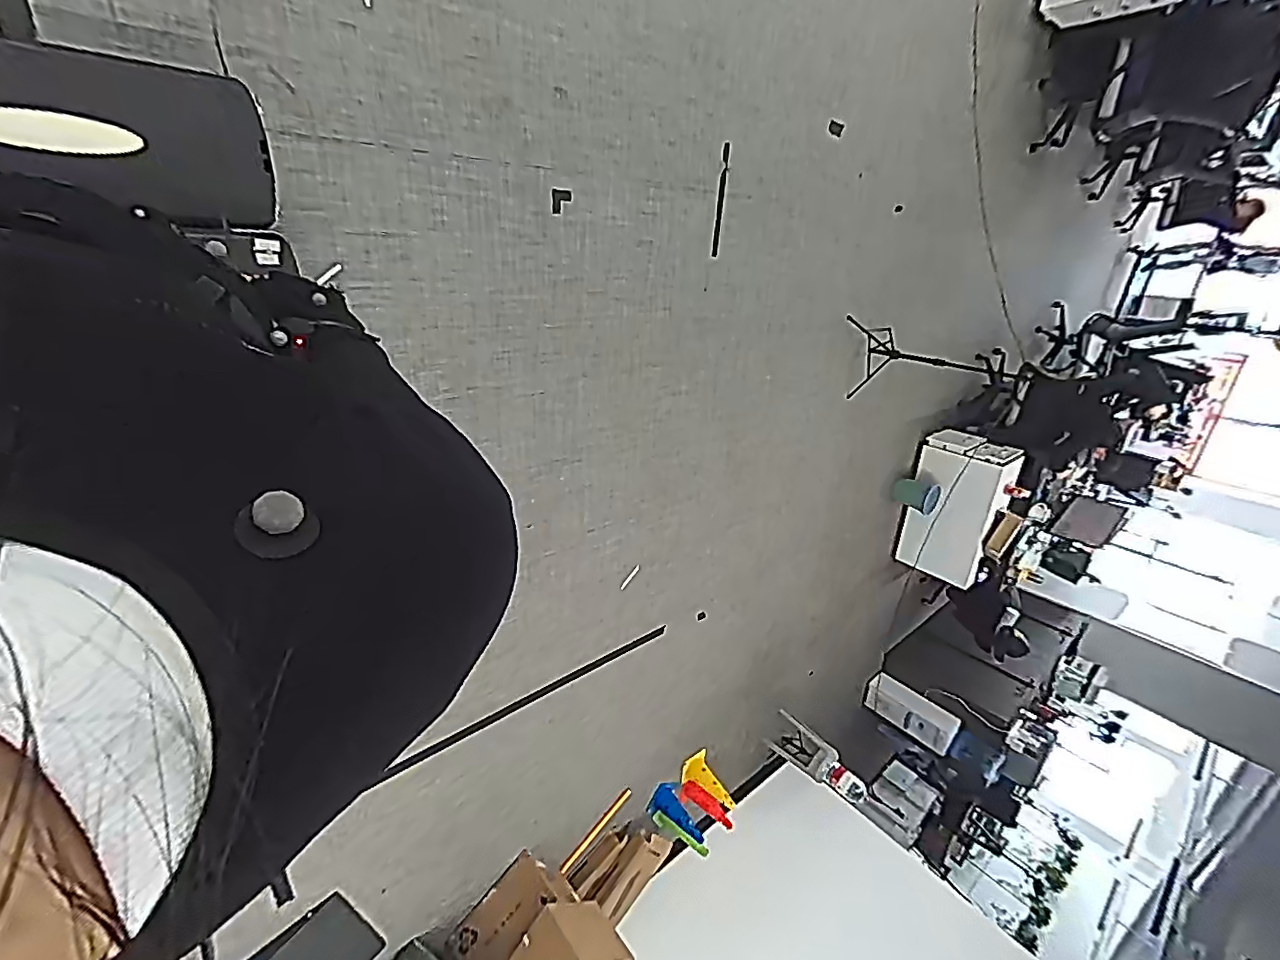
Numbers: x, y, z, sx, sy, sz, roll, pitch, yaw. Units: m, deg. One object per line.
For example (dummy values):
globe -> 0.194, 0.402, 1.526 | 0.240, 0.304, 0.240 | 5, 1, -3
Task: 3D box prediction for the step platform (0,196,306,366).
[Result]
step platform -> -1.060, -0.392, 1.064 | 0.684, 0.204, 0.286 | -16, 119, -36
